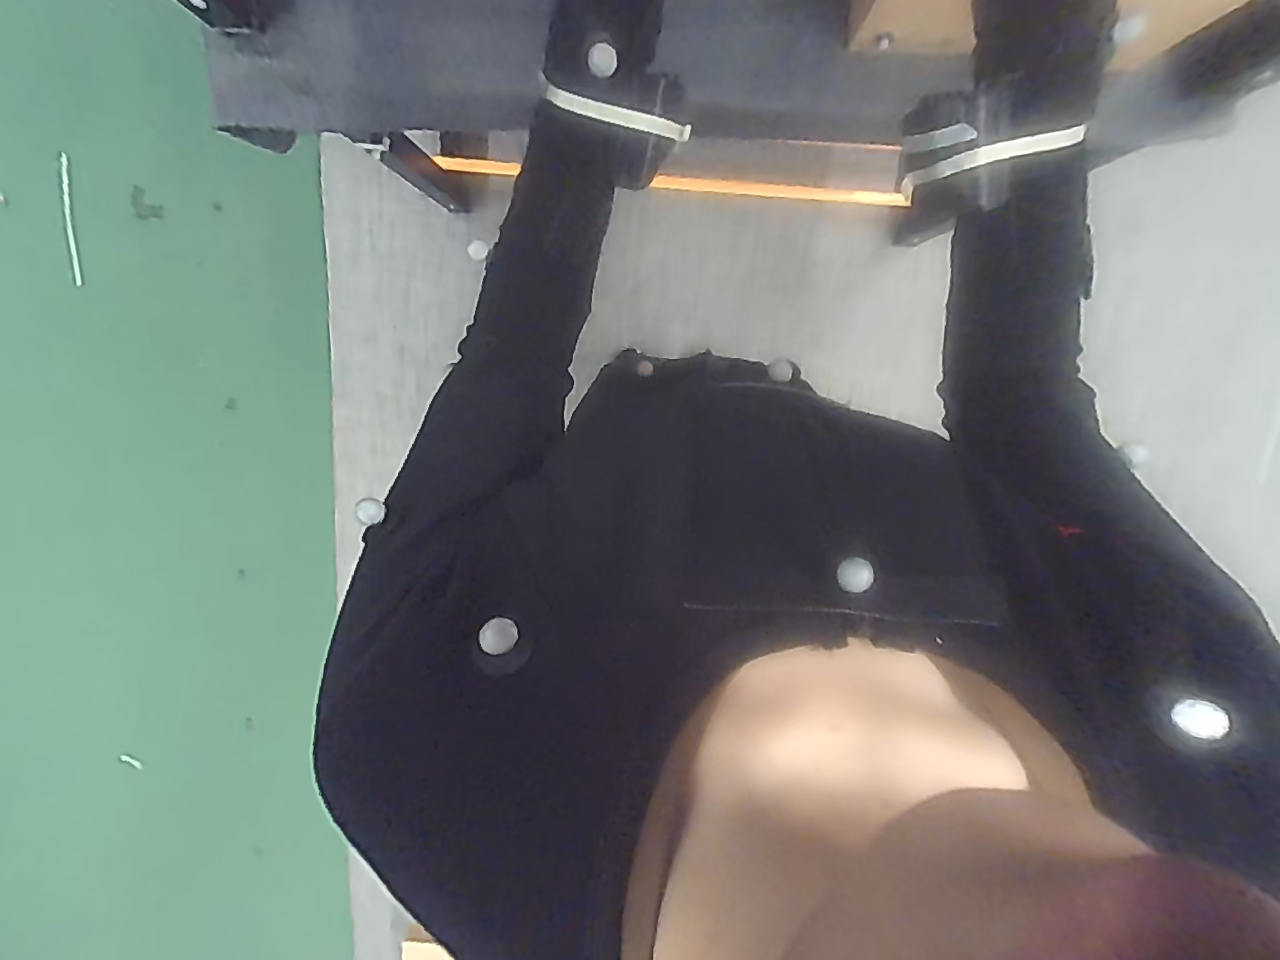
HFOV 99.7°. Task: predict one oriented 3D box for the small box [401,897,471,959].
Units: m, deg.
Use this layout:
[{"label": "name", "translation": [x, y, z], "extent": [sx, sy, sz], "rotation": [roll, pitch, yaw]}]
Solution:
[{"label": "small box", "translation": [-0.653, 1.491, 1.738], "extent": [0.168, 0.176, 0.179], "rotation": [6, 102, 1]}]
